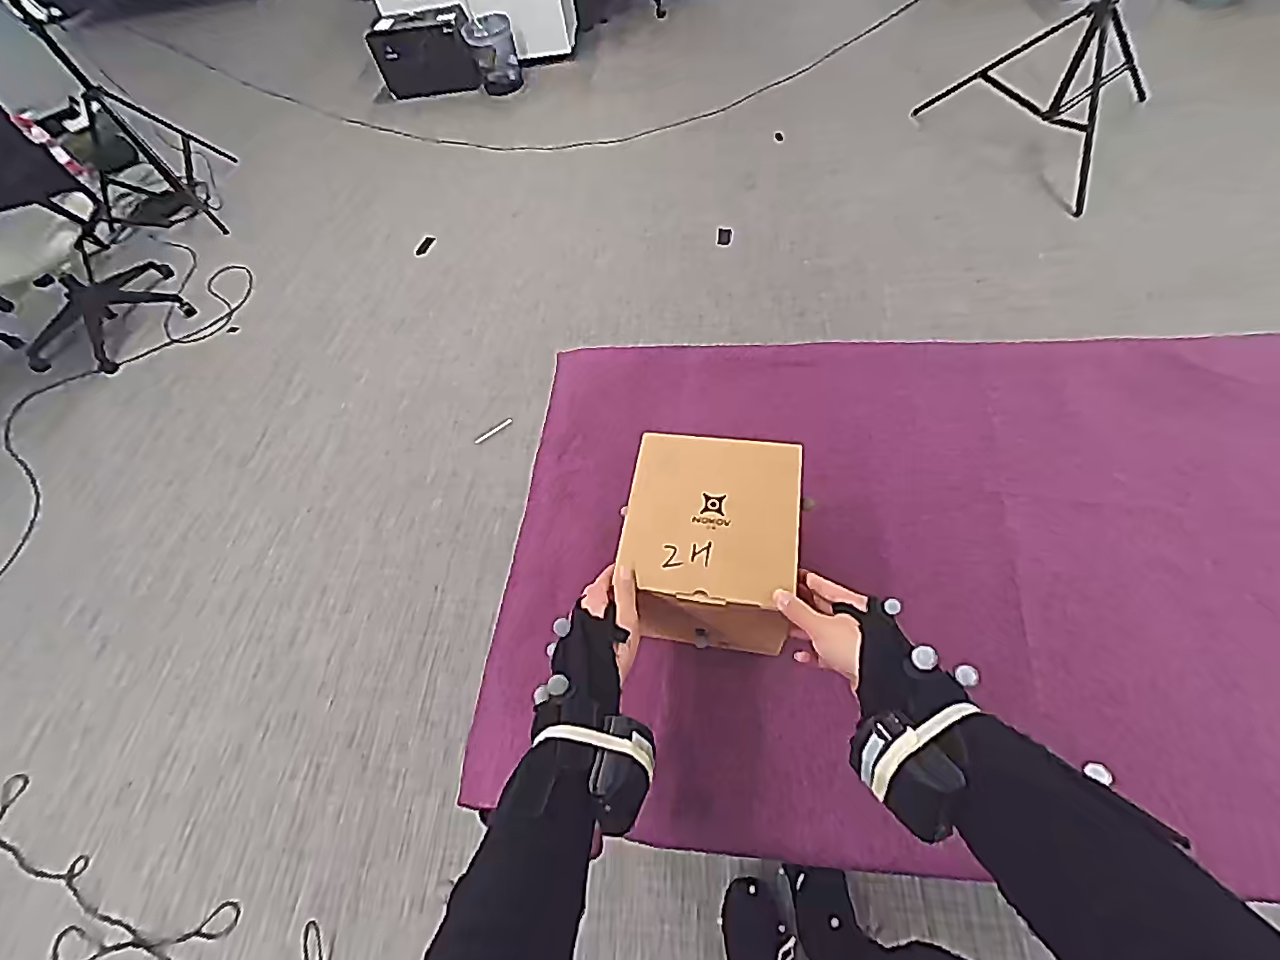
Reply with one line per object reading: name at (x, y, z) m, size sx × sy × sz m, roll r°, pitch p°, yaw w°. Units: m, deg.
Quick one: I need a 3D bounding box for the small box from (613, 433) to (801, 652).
small box at (0.078, 0.072, 0.594) m, size 0.168 × 0.176 × 0.179 m, roll 5°, pitch 60°, yaw 11°
